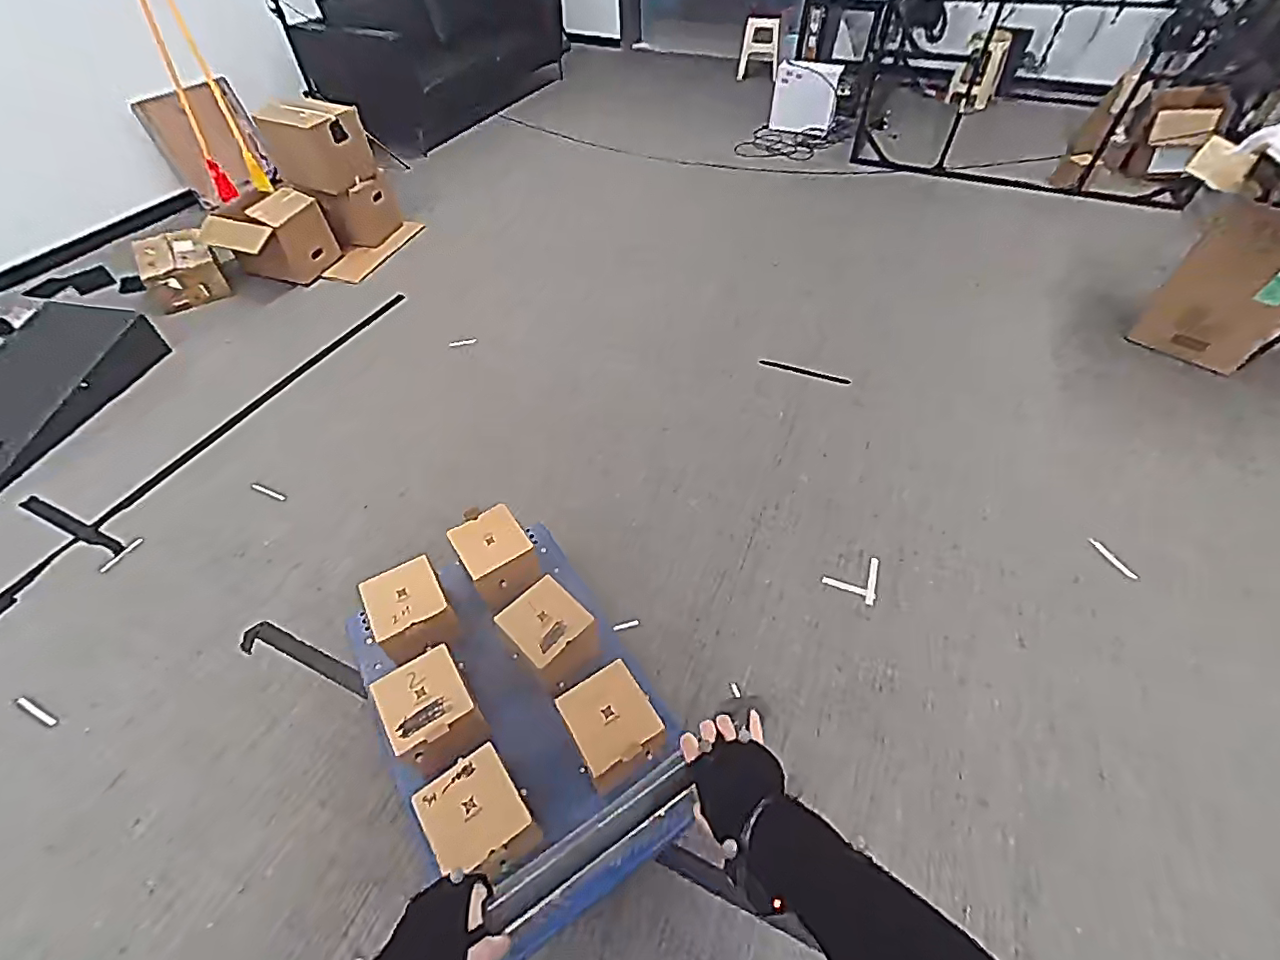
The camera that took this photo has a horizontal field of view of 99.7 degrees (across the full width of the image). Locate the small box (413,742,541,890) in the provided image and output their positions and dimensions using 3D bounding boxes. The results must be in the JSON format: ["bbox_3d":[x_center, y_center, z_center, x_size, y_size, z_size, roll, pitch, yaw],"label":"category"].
[{"bbox_3d":[-0.308,0.655,1.051,0.168,0.176,0.179,-29,56,-25],"label":"small box"}]

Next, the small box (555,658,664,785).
[{"bbox_3d":[-0.064,0.527,1.166,0.168,0.176,0.179,-26,54,-22],"label":"small box"}]

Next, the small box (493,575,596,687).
[{"bbox_3d":[-0.221,0.369,1.297,0.179,0.176,0.168,36,58,27],"label":"small box"}]

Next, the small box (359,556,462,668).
[{"bbox_3d":[-0.559,0.326,1.329,0.168,0.176,0.179,-26,55,-20],"label":"small box"}]

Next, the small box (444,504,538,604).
[{"bbox_3d":[-0.388,0.204,1.436,0.168,0.176,0.179,-30,56,-23],"label":"small box"}]
